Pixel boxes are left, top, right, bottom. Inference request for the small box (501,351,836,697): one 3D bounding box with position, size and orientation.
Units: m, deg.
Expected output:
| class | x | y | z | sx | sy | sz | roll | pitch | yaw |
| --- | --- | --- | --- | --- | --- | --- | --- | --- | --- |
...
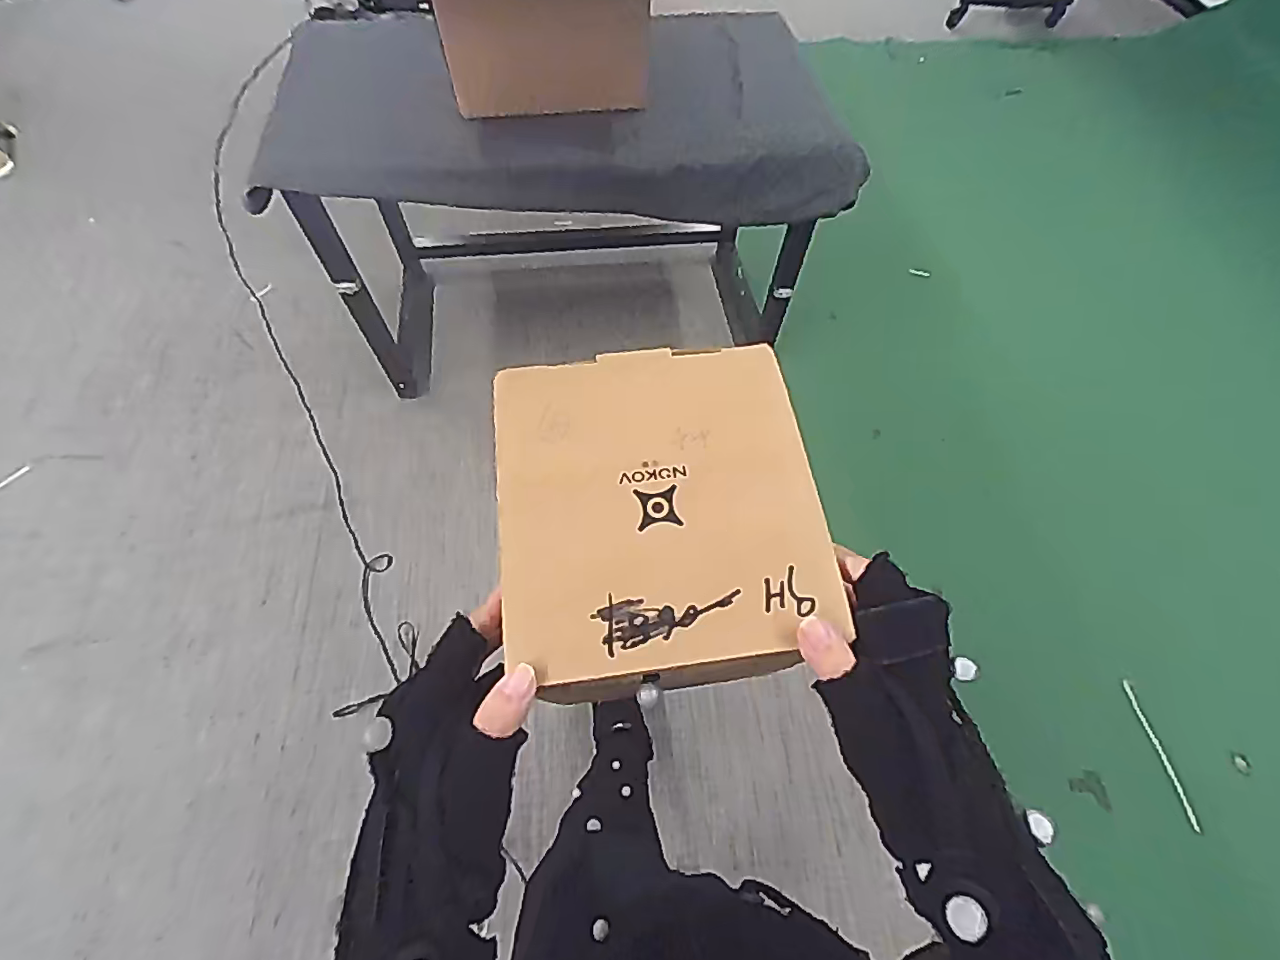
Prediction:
| class | x | y | z | sx | sy | sz | roll | pitch | yaw |
| --- | --- | --- | --- | --- | --- | --- | --- | --- | --- |
| small box | 0.005 | 0.039 | 0.367 | 0.168 | 0.176 | 0.179 | -7 | 65 | -3 |
